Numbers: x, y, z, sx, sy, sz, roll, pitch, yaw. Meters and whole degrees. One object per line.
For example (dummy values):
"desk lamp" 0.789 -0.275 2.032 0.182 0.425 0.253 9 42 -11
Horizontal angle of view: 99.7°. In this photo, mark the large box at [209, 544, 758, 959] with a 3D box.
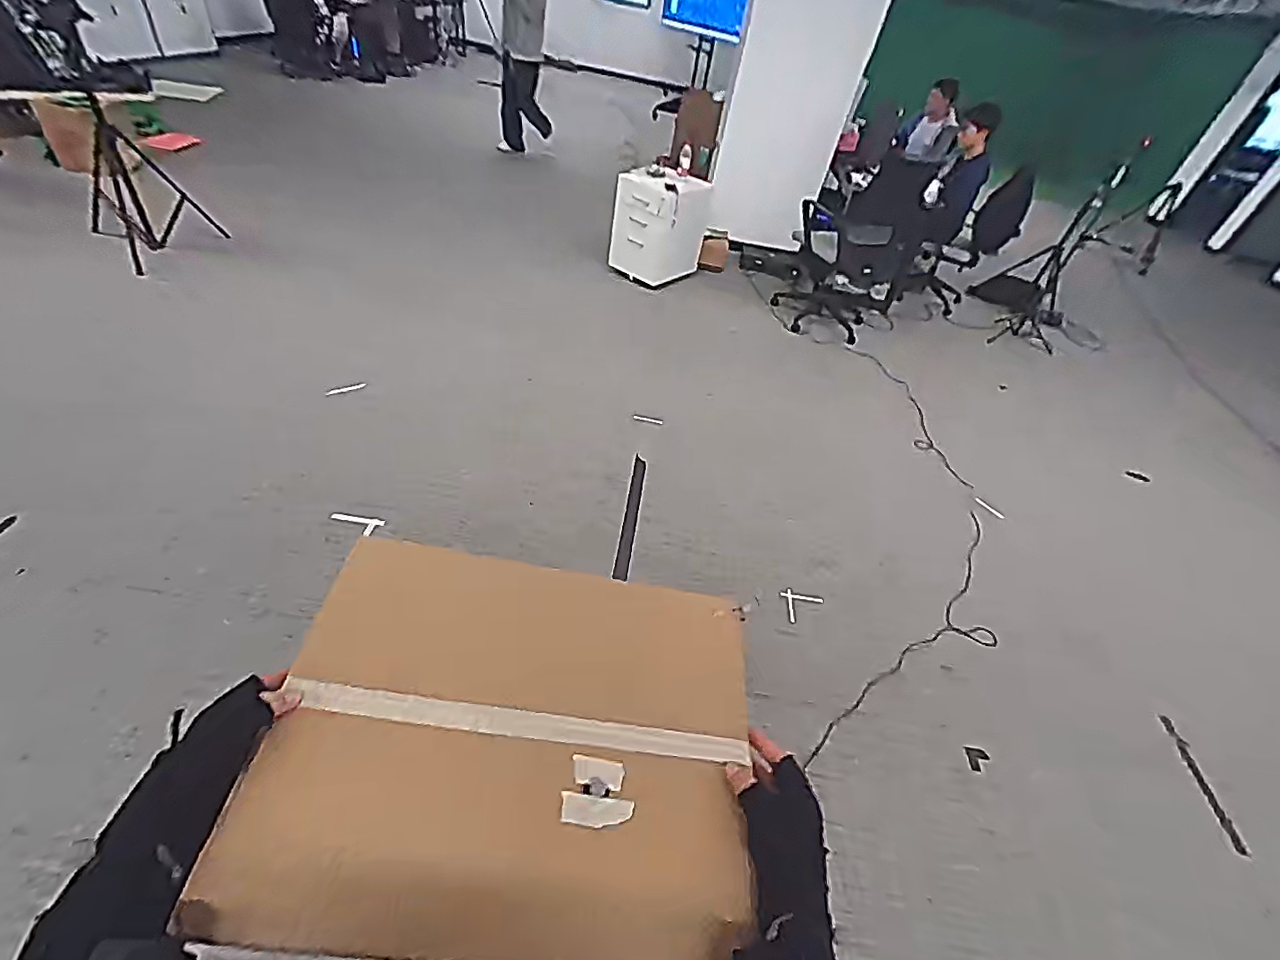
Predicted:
"large box" -0.126 0.309 0.596 0.408 0.320 0.320 12 50 -7
